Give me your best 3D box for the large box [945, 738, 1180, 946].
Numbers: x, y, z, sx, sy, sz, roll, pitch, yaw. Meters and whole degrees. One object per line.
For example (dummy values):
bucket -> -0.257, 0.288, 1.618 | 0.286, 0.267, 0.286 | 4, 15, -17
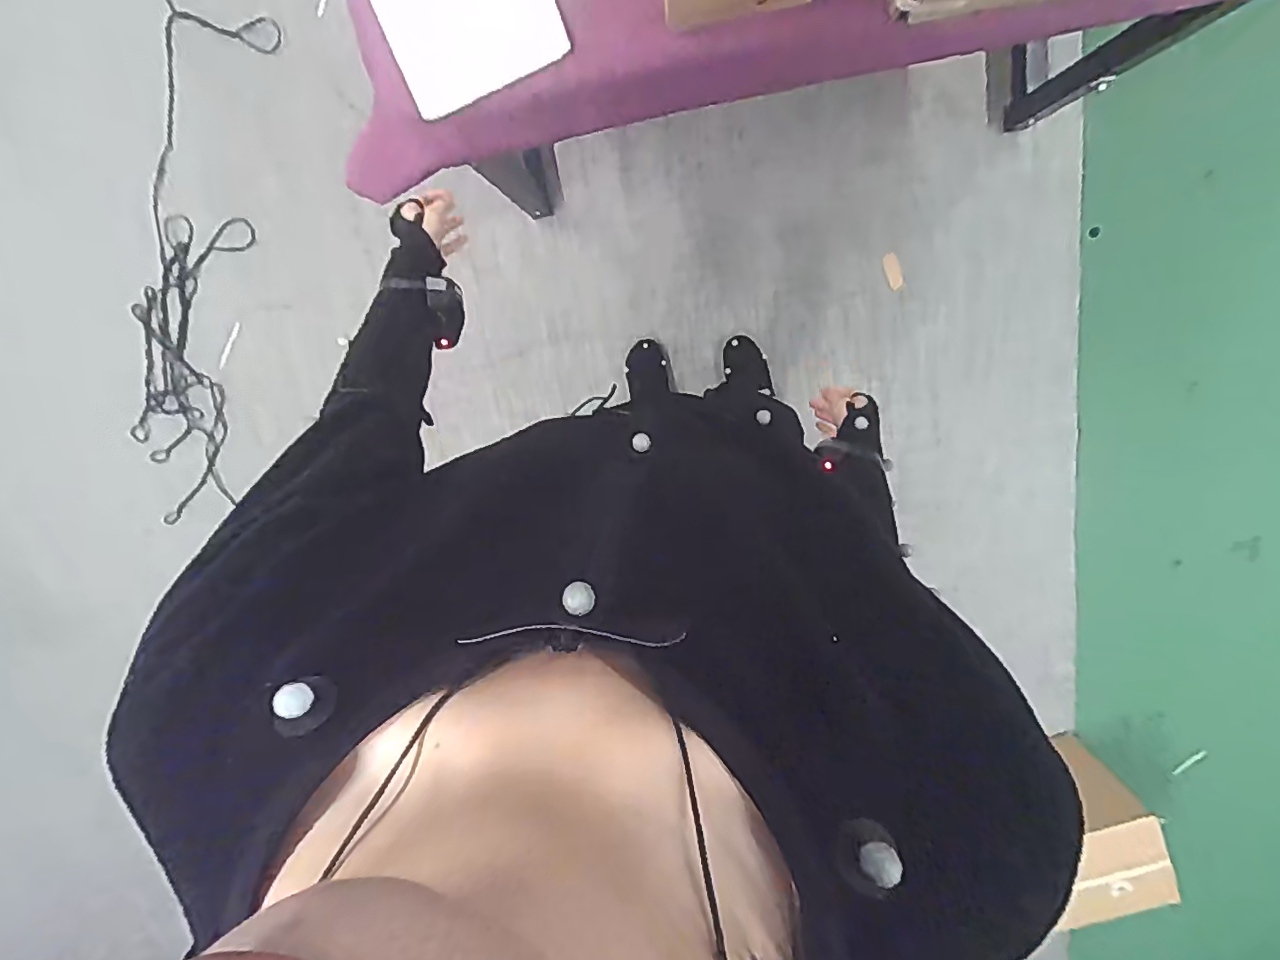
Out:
large box -> 1.200, 1.036, 1.576 | 0.408, 0.320, 0.320 | -24, 103, 7
